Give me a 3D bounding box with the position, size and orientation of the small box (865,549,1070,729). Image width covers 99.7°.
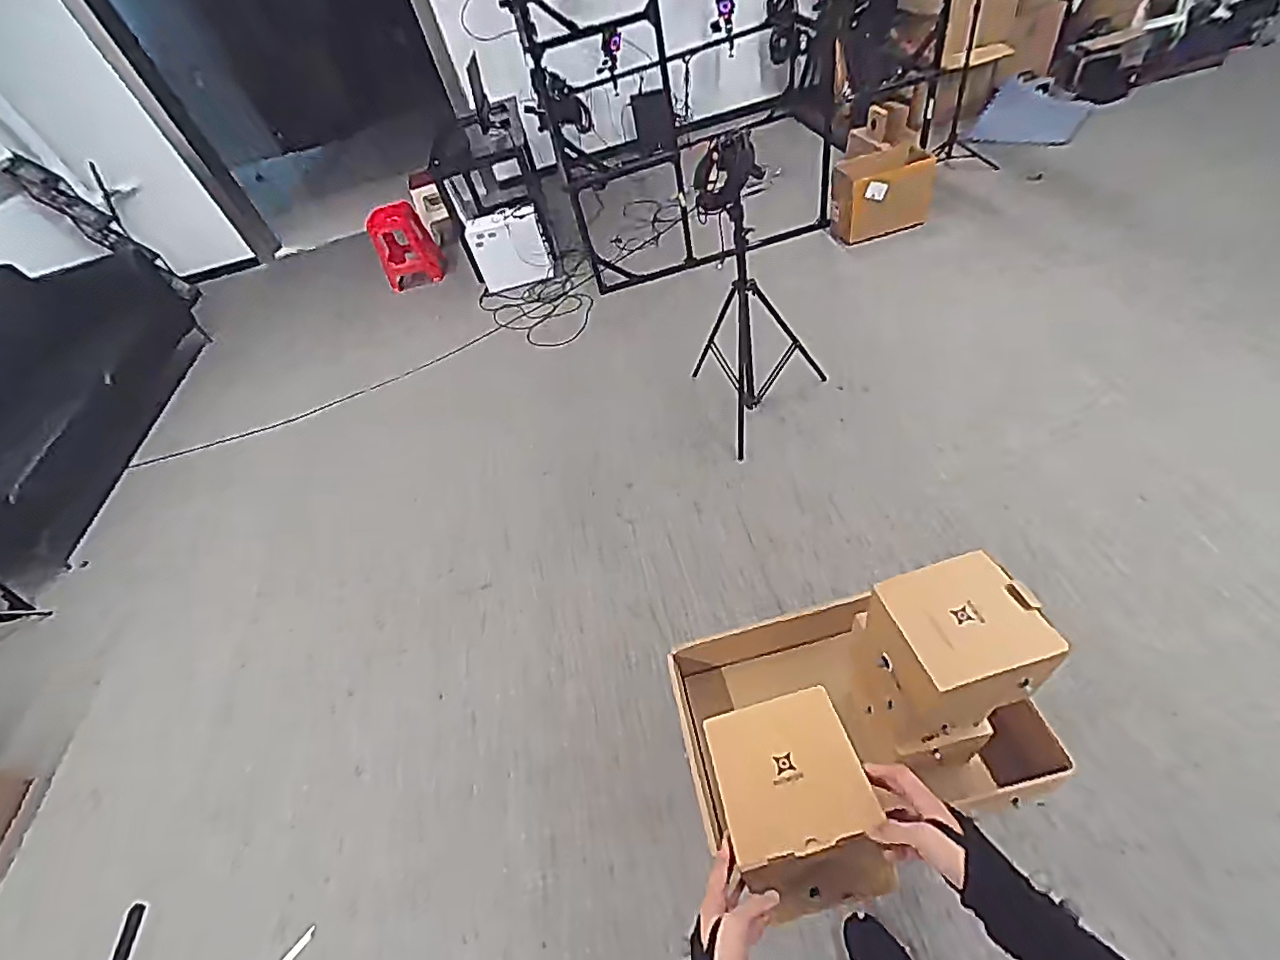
[{"bbox_3d":[0.449,0.231,0.778,0.179,0.176,0.168,-17,46,-1],"label":"small box"}]

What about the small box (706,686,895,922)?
[{"bbox_3d":[0.193,0.396,0.668,0.168,0.176,0.179,-18,33,3],"label":"small box"}]
